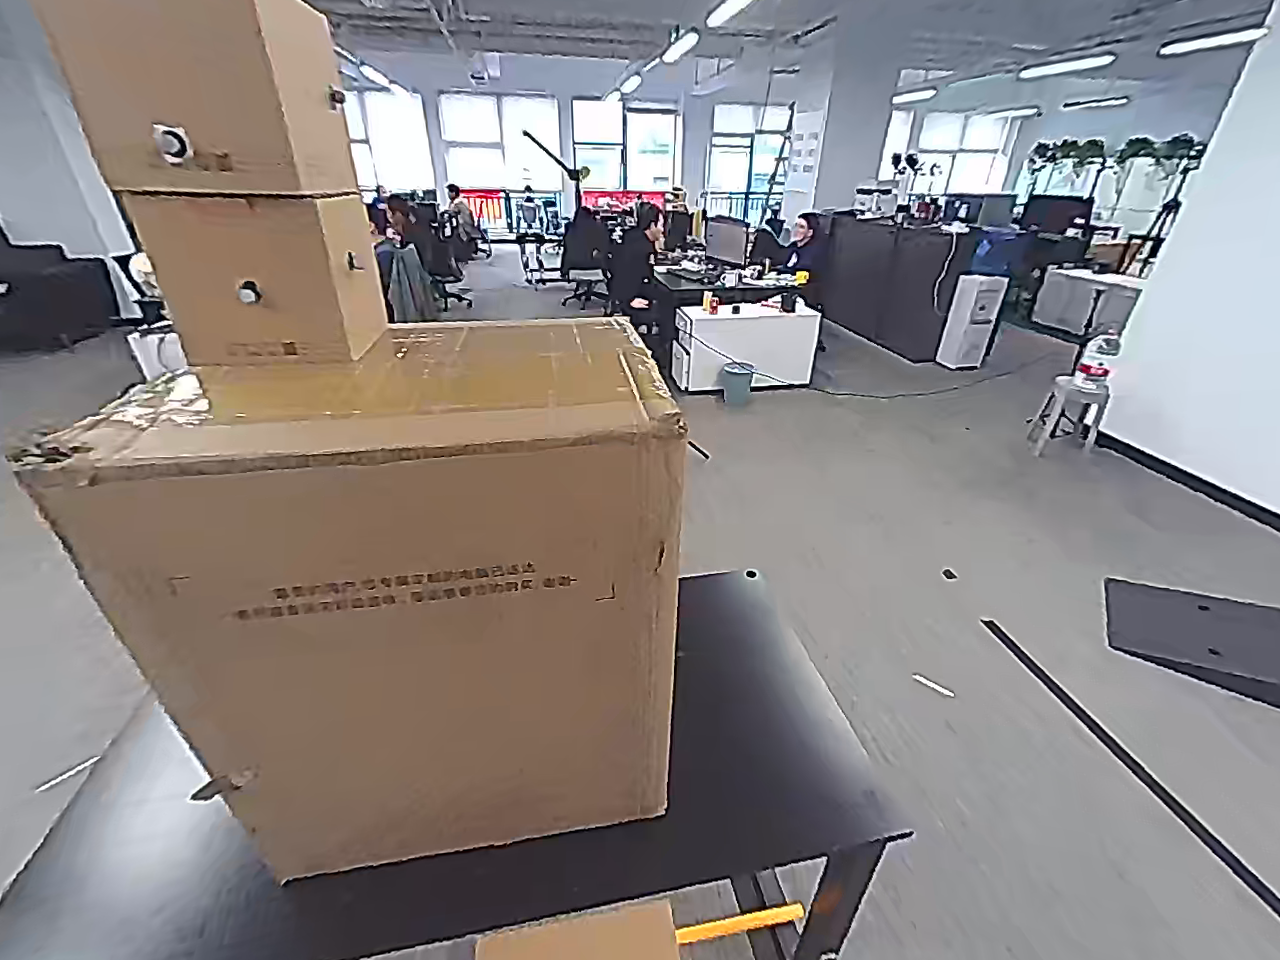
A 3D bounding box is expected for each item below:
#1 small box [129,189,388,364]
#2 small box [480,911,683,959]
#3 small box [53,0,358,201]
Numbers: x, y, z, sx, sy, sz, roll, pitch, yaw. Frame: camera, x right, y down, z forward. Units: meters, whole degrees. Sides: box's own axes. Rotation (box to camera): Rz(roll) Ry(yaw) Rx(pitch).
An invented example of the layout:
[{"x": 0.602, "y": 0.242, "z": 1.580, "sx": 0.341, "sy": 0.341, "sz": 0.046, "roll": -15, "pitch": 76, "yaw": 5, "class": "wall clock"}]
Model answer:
[{"x": -0.402, "y": -0.234, "z": 0.614, "sx": 0.168, "sy": 0.176, "sz": 0.179, "roll": -4, "pitch": 30, "yaw": -10, "class": "small box"}, {"x": -0.037, "y": 0.486, "z": 0.413, "sx": 0.168, "sy": 0.176, "sz": 0.179, "roll": -6, "pitch": 27, "yaw": -7, "class": "small box"}, {"x": -0.393, "y": -0.369, "z": 0.522, "sx": 0.168, "sy": 0.176, "sz": 0.179, "roll": -4, "pitch": 30, "yaw": -8, "class": "small box"}]
